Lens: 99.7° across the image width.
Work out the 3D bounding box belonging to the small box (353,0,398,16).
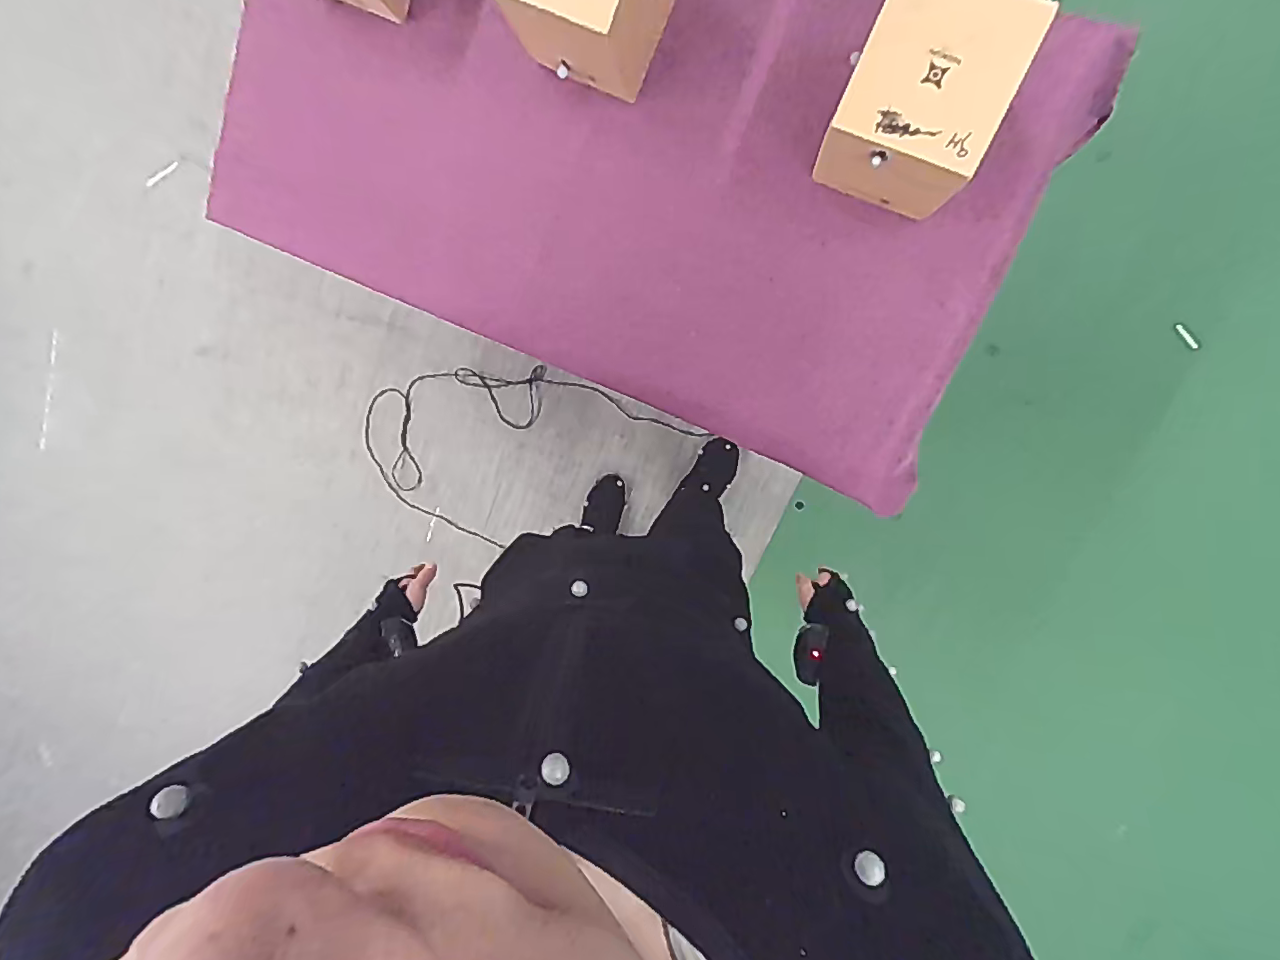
[{"bbox_3d":[-0.414,-0.772,0.709,0.168,0.176,0.179,24,104,3],"label":"small box"}]

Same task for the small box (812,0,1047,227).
[{"bbox_3d":[0.329,-0.444,0.662,0.168,0.176,0.179,25,103,4],"label":"small box"}]

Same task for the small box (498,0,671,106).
[{"bbox_3d":[-0.064,-0.631,0.687,0.168,0.176,0.179,26,104,4],"label":"small box"}]
